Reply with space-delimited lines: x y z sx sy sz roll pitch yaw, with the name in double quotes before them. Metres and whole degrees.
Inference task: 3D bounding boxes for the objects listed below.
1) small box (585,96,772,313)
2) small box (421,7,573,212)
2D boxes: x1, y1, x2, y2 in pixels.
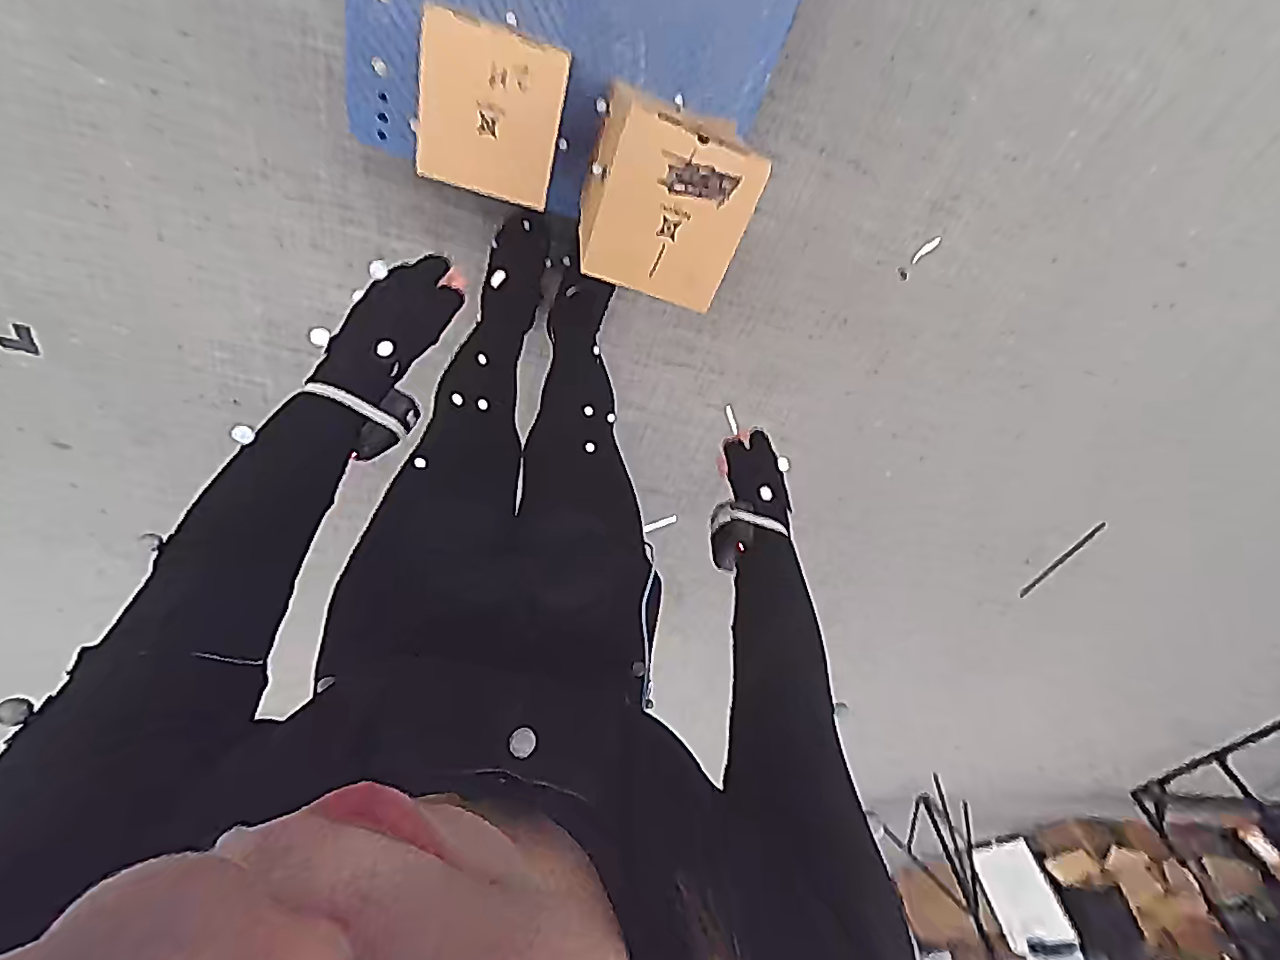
"small box" 0.032 -0.342 0.668 0.168 0.176 0.179 13 128 -17
"small box" -0.187 -0.496 0.730 0.168 0.176 0.179 10 127 -15
